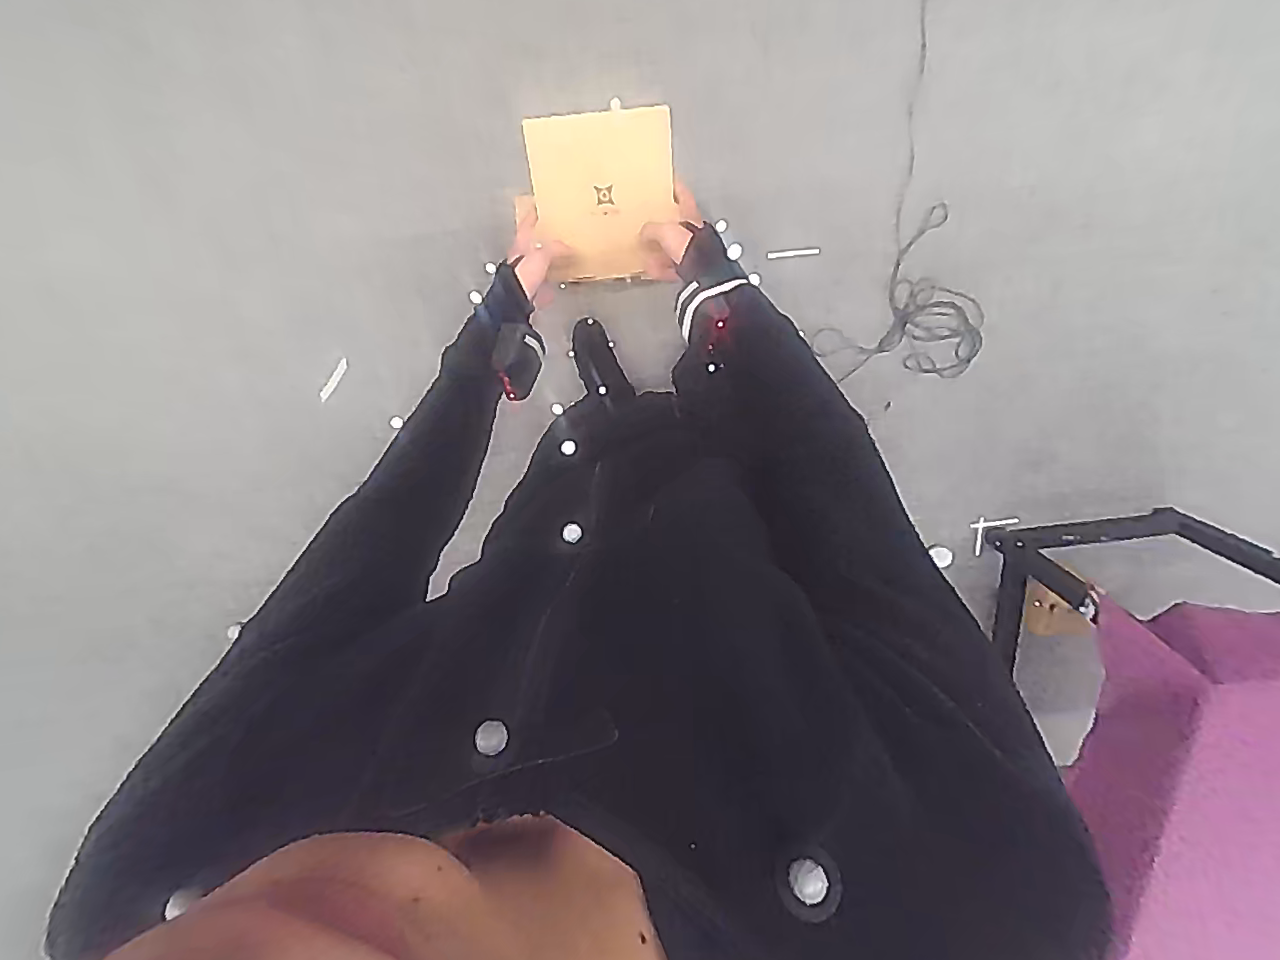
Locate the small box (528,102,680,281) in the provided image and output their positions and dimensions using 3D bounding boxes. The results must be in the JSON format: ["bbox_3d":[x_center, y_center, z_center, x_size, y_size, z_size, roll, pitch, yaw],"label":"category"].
[{"bbox_3d":[-0.040,-0.372,0.700,0.168,0.176,0.179,-5,123,1],"label":"small box"}]

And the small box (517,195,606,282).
[{"bbox_3d":[-0.162,-0.527,1.192,0.179,0.176,0.168,-1,110,1],"label":"small box"}]
